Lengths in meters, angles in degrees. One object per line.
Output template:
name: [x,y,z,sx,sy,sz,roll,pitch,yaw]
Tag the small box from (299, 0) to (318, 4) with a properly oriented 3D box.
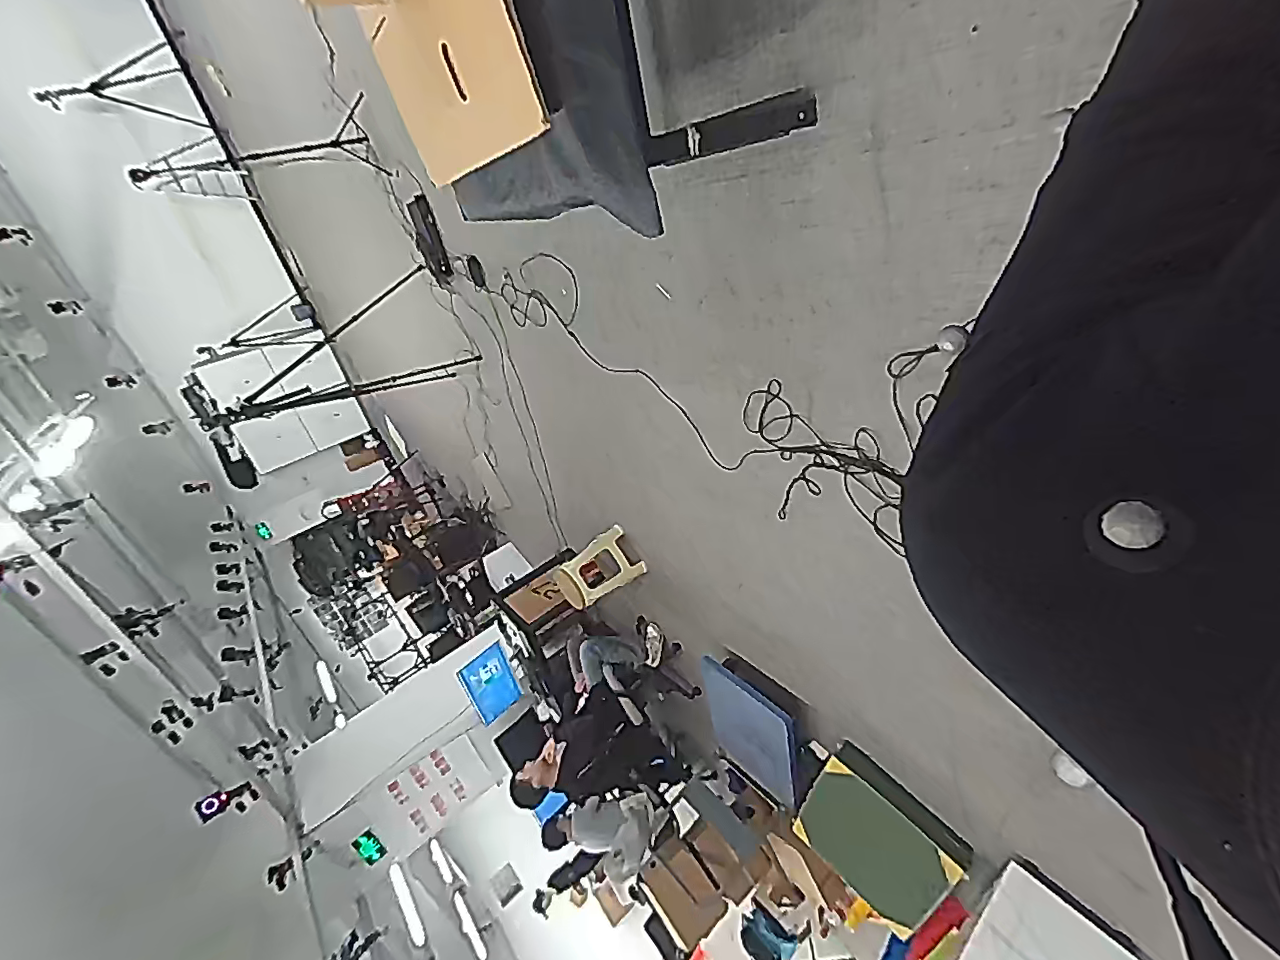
small box: [-0.498,-0.915,0.875,0.168,0.176,0.179,23,136,52]
